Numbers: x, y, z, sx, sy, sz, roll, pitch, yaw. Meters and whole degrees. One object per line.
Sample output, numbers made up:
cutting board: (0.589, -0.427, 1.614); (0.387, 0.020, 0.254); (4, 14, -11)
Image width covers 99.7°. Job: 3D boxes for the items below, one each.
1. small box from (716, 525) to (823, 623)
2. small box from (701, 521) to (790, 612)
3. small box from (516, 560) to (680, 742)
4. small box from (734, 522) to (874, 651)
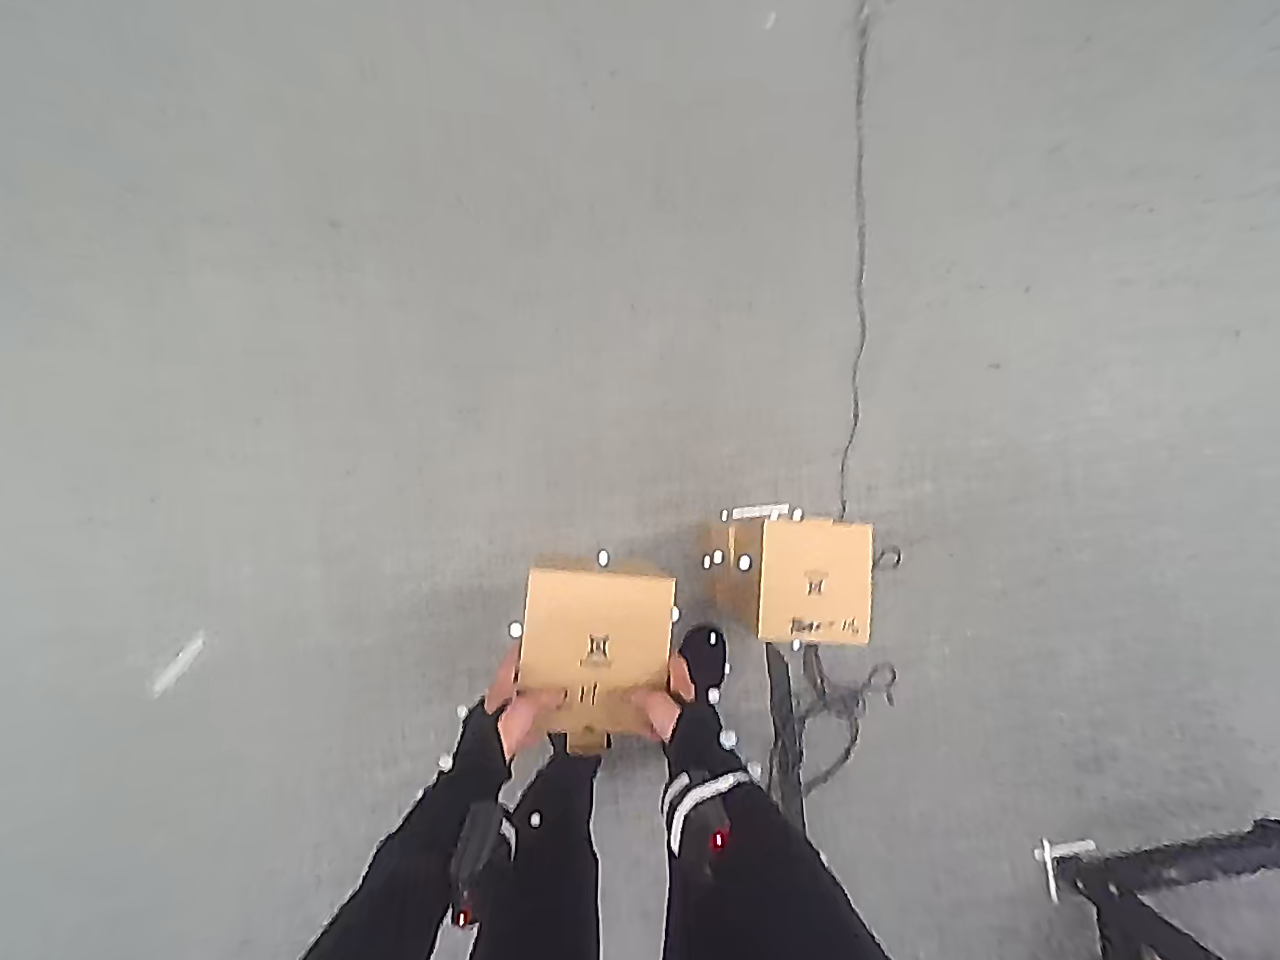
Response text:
small box: (0.244, 0.172, 1.025); (0.179, 0.176, 0.168); (-3, 86, -4)
small box: (0.233, 0.184, 1.186); (0.168, 0.176, 0.179); (-5, 86, -4)
small box: (-0.057, 0.198, 0.670); (0.168, 0.176, 0.179); (7, 87, -8)
small box: (0.251, 0.162, 0.861); (0.168, 0.176, 0.179); (4, 84, -3)
